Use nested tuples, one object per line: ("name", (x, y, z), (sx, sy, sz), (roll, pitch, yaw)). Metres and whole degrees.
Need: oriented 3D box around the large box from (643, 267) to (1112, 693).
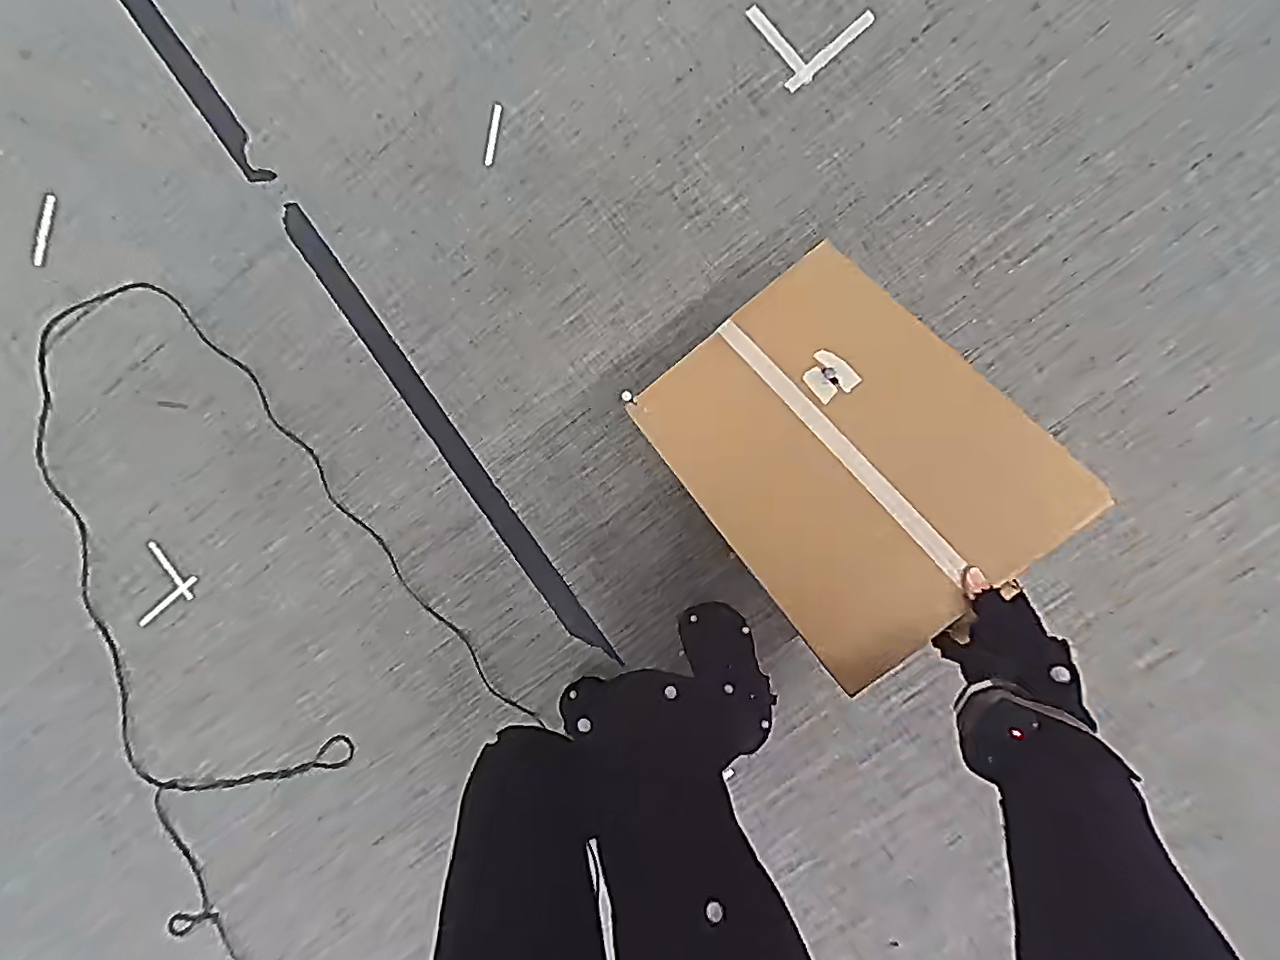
("large box", (0.273, 0.013, 0.741), (0.320, 0.320, 0.408), (-38, 70, 4))
